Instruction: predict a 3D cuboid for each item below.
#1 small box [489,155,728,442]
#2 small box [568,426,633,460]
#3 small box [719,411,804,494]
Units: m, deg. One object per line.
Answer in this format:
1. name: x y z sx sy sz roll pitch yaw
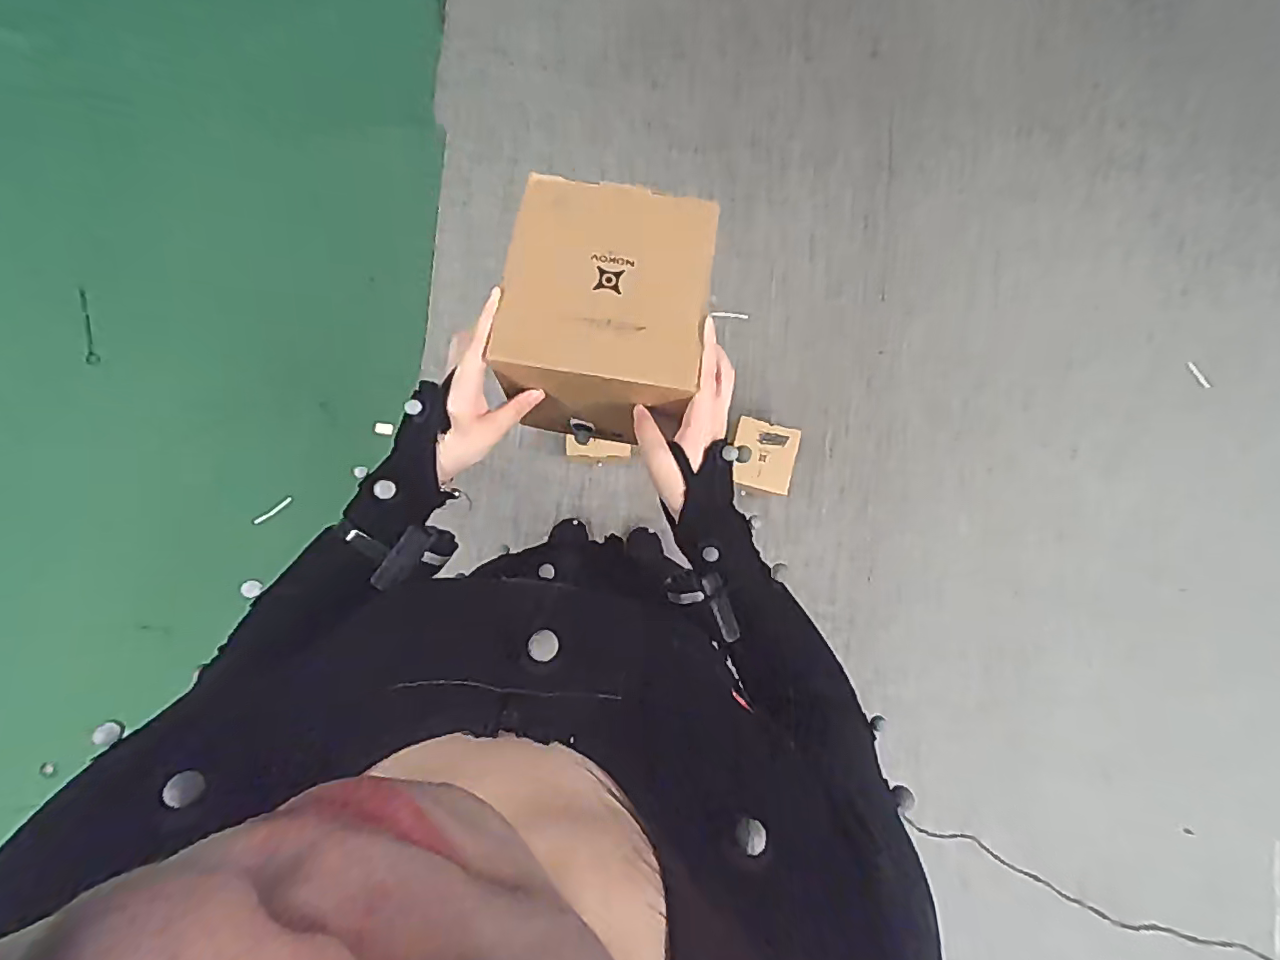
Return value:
1. small box: -0.026 -0.152 0.502 0.168 0.176 0.179 10 77 -1
2. small box: -0.101 -0.153 1.444 0.168 0.176 0.179 1 86 -2
3. small box: 0.318 -0.068 1.452 0.168 0.176 0.179 15 86 0
